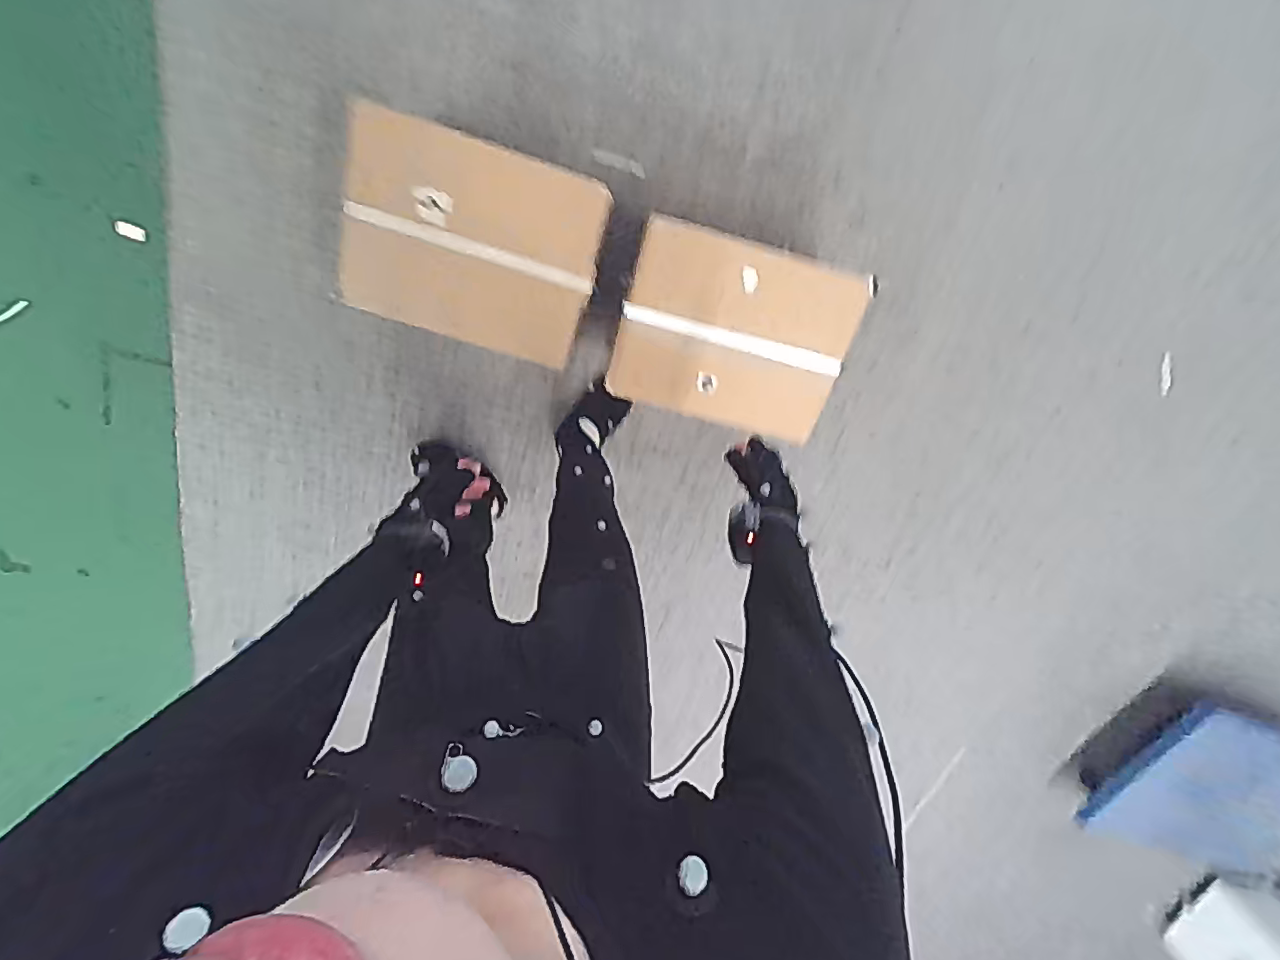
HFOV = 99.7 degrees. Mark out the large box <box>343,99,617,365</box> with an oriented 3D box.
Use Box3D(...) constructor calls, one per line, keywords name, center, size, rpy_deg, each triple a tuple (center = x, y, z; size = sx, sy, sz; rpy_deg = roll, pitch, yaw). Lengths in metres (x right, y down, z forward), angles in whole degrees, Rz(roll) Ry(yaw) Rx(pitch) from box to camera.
Box3D(name="large box", center=(-0.280, -0.456, 1.035), size=(0.408, 0.320, 0.320), rpy_deg=(17, 113, -8))
